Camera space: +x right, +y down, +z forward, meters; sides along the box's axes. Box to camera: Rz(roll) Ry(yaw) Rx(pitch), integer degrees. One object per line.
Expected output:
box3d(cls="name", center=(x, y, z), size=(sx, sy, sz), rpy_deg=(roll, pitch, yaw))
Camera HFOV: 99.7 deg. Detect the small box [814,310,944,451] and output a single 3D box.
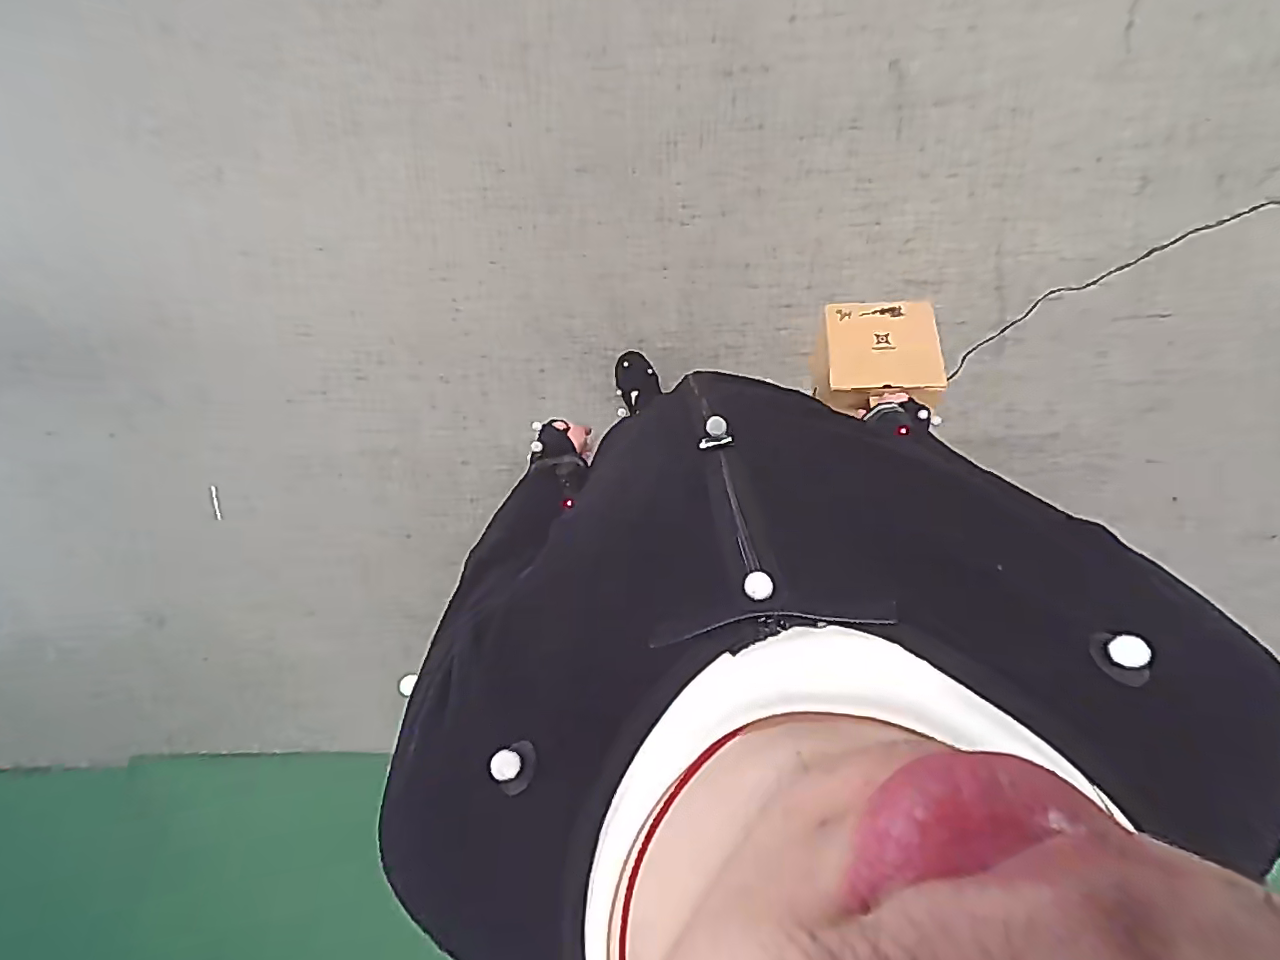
box3d(cls="small box", center=(0.392, -0.160, 0.915), size=(0.168, 0.176, 0.179), rpy_deg=(1, 61, 11))
